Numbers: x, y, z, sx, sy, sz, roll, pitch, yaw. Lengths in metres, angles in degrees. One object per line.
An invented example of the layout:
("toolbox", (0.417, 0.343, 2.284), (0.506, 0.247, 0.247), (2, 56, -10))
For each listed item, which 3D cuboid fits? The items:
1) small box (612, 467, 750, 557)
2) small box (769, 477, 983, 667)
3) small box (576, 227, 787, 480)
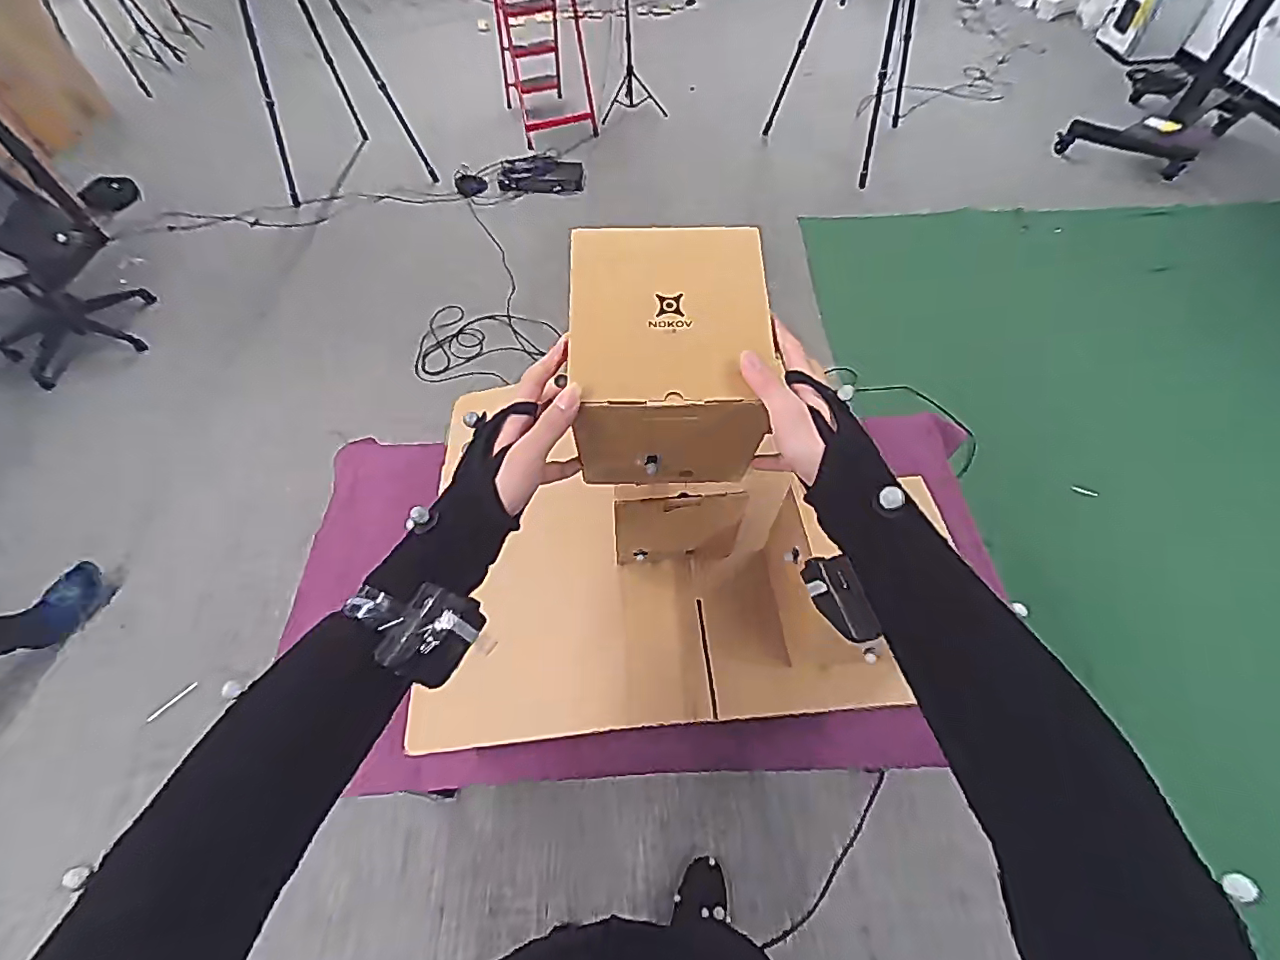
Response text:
("small box", (0.044, -0.003, 0.745), (0.168, 0.176, 0.179), (-3, 55, -4))
("small box", (0.268, 0.116, 0.667), (0.168, 0.176, 0.179), (-3, 56, -2))
("small box", (0.028, -0.111, 0.516), (0.168, 0.176, 0.179), (-1, 69, -2))
